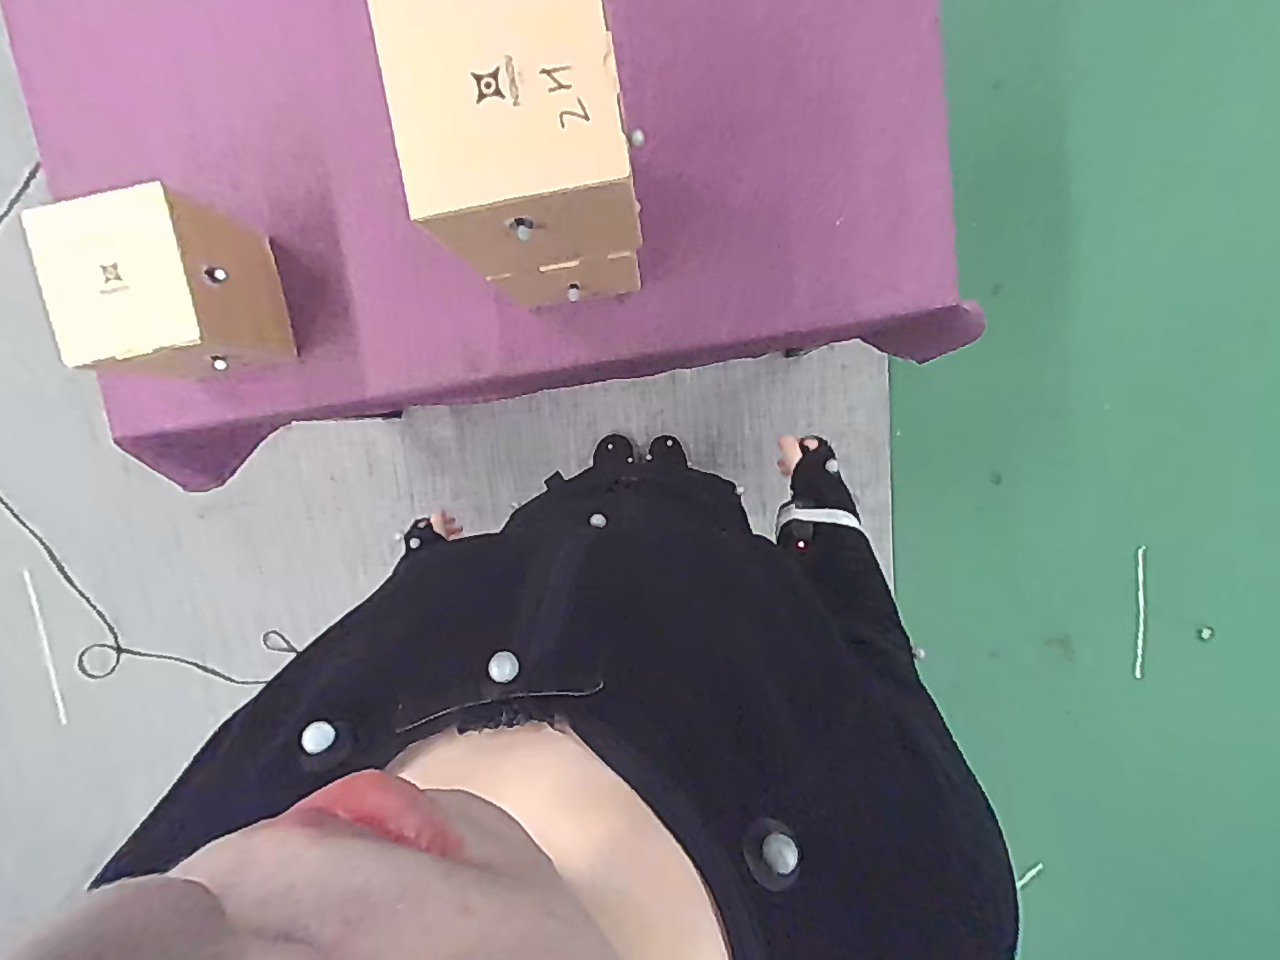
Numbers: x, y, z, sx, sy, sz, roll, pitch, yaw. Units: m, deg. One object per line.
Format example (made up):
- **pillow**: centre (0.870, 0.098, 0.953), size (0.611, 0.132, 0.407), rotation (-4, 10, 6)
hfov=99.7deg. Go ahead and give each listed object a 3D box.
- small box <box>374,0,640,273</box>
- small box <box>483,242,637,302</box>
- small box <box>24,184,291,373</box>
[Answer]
- **small box**: centre (-0.100, -0.300, 0.486), size (0.179, 0.176, 0.168), rotation (-9, 96, 3)
- **small box**: centre (-0.097, -0.320, 0.650), size (0.168, 0.176, 0.179), rotation (-8, 97, 3)
- **small box**: centre (-0.578, -0.234, 0.677), size (0.168, 0.176, 0.179), rotation (-9, 96, 2)
